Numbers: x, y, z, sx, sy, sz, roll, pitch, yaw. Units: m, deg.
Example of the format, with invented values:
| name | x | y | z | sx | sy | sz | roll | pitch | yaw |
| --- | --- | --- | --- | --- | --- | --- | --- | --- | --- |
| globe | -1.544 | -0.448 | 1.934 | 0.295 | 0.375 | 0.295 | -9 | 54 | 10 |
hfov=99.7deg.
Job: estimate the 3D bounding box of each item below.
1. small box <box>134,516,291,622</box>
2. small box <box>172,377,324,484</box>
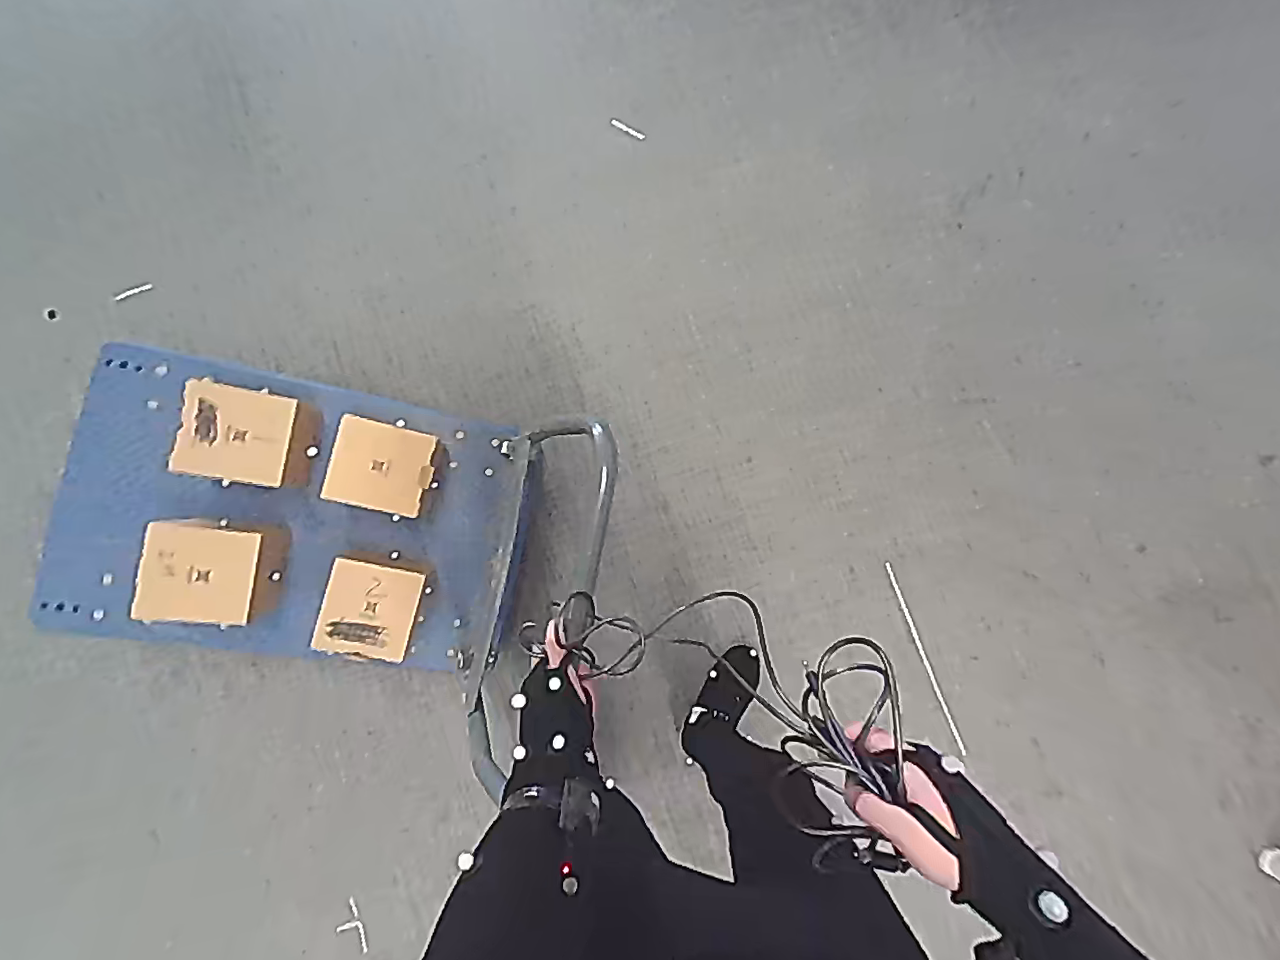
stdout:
| name | x | y | z | sx | sy | sz | roll | pitch | yaw |
| --- | --- | --- | --- | --- | --- | --- | --- | --- | --- |
| small box | -0.800 | 0.163 | 1.034 | 0.179 | 0.176 | 0.168 | 9 | 87 | -15 |
| small box | -0.746 | -0.087 | 1.050 | 0.179 | 0.176 | 0.168 | 11 | 87 | -16 |
